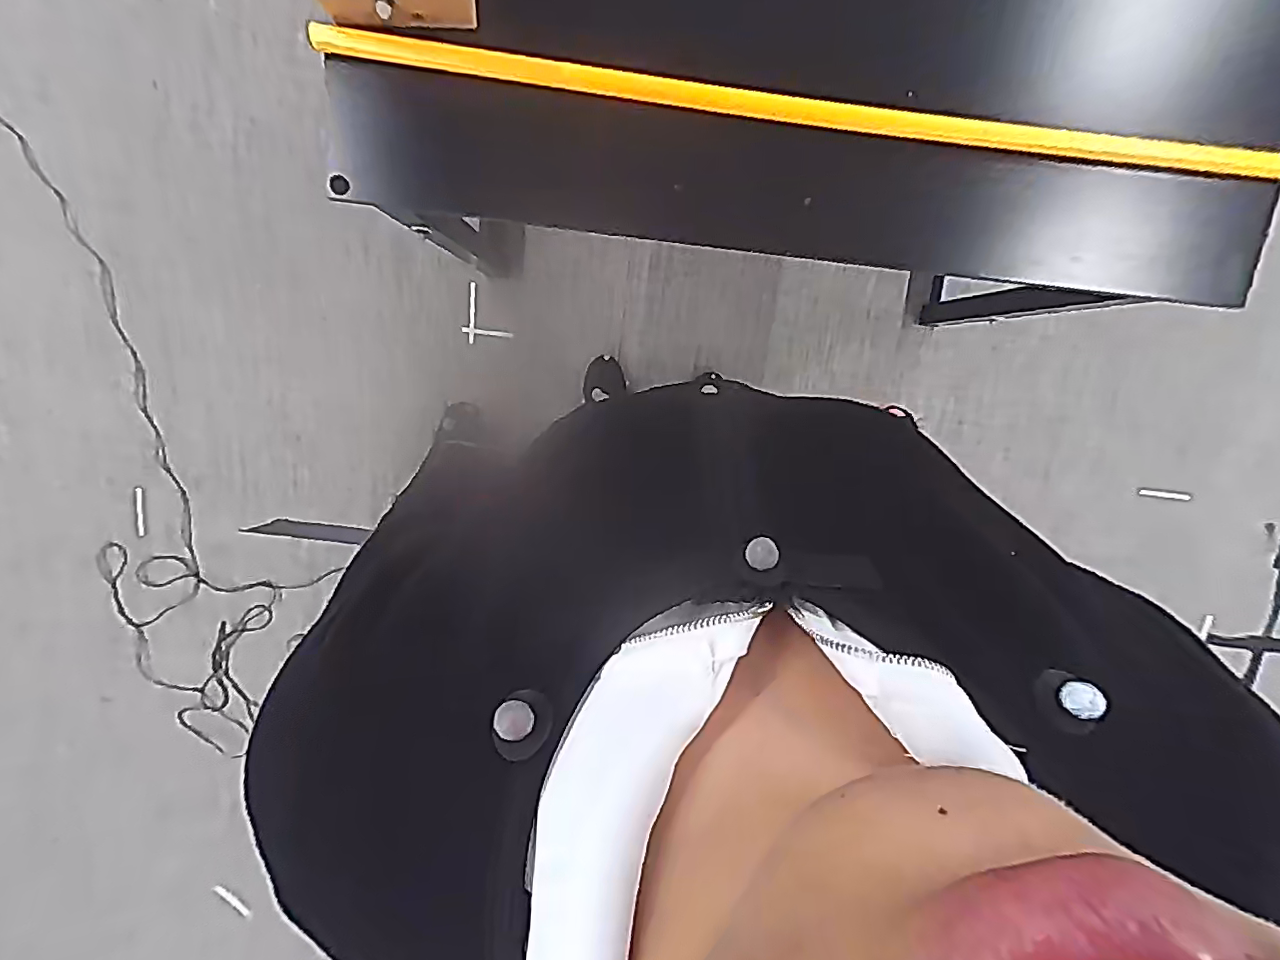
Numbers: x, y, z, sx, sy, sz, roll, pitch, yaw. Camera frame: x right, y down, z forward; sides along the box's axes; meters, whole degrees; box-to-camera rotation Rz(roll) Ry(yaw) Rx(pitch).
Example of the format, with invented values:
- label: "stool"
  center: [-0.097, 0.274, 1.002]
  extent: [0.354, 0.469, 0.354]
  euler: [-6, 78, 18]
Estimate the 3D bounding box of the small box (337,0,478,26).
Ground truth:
- label: "small box"
  center: [-0.265, -0.605, 0.537]
  extent: [0.168, 0.176, 0.179]
  euler: [1, 103, -2]
